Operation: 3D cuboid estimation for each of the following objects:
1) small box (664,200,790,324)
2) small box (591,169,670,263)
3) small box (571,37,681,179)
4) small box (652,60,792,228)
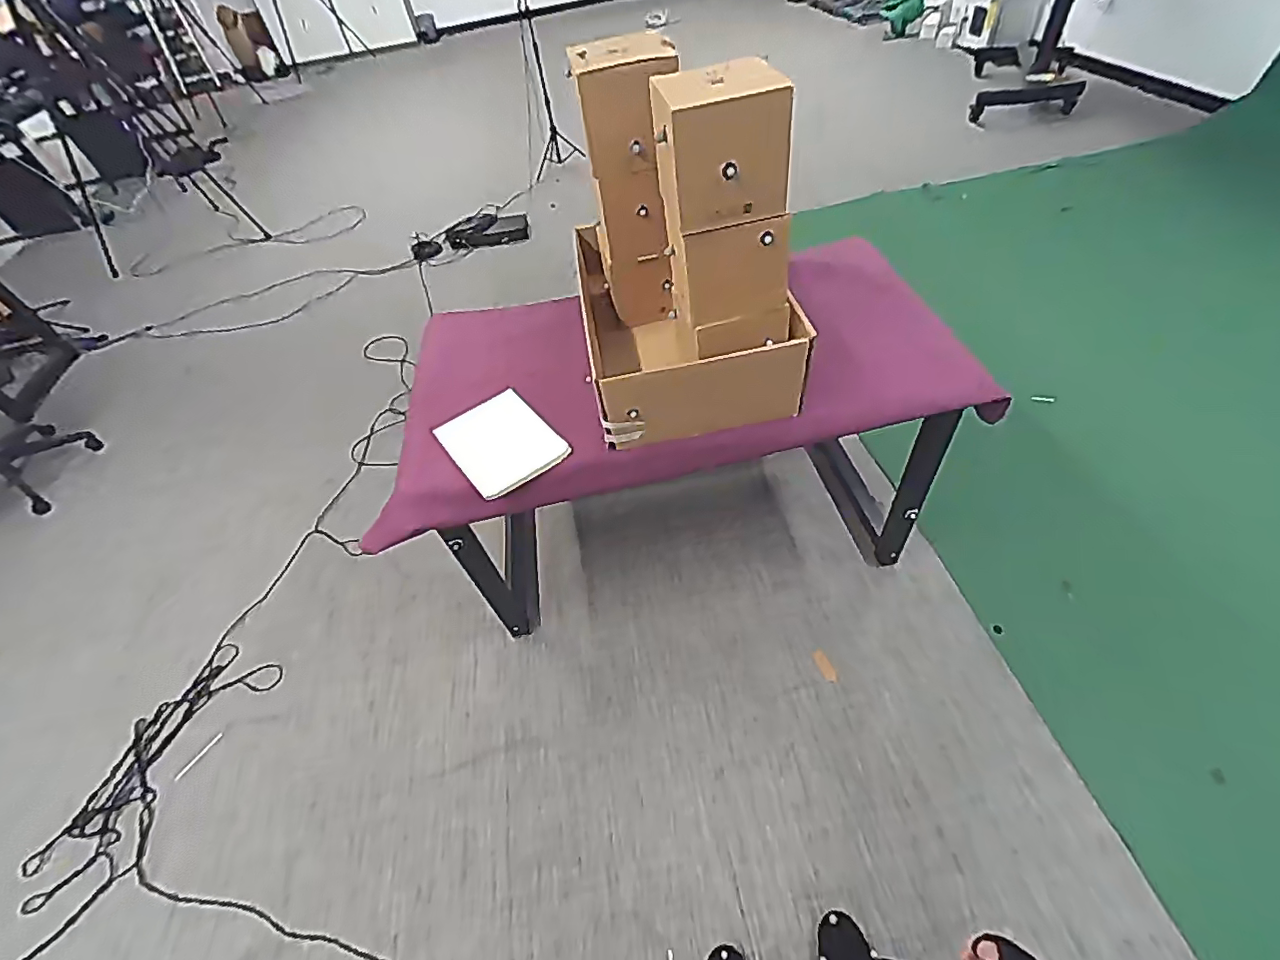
[{"bbox_3d":[0.147,-0.392,0.939,0.179,0.176,0.168,-11,48,0],"label":"small box"},{"bbox_3d":[-0.002,-0.581,1.127,0.179,0.176,0.168,-13,50,-2],"label":"small box"},{"bbox_3d":[-0.023,-0.687,1.003,0.179,0.176,0.168,-11,50,-2],"label":"small box"},{"bbox_3d":[0.120,-0.499,0.816,0.168,0.176,0.179,-11,47,0],"label":"small box"}]
